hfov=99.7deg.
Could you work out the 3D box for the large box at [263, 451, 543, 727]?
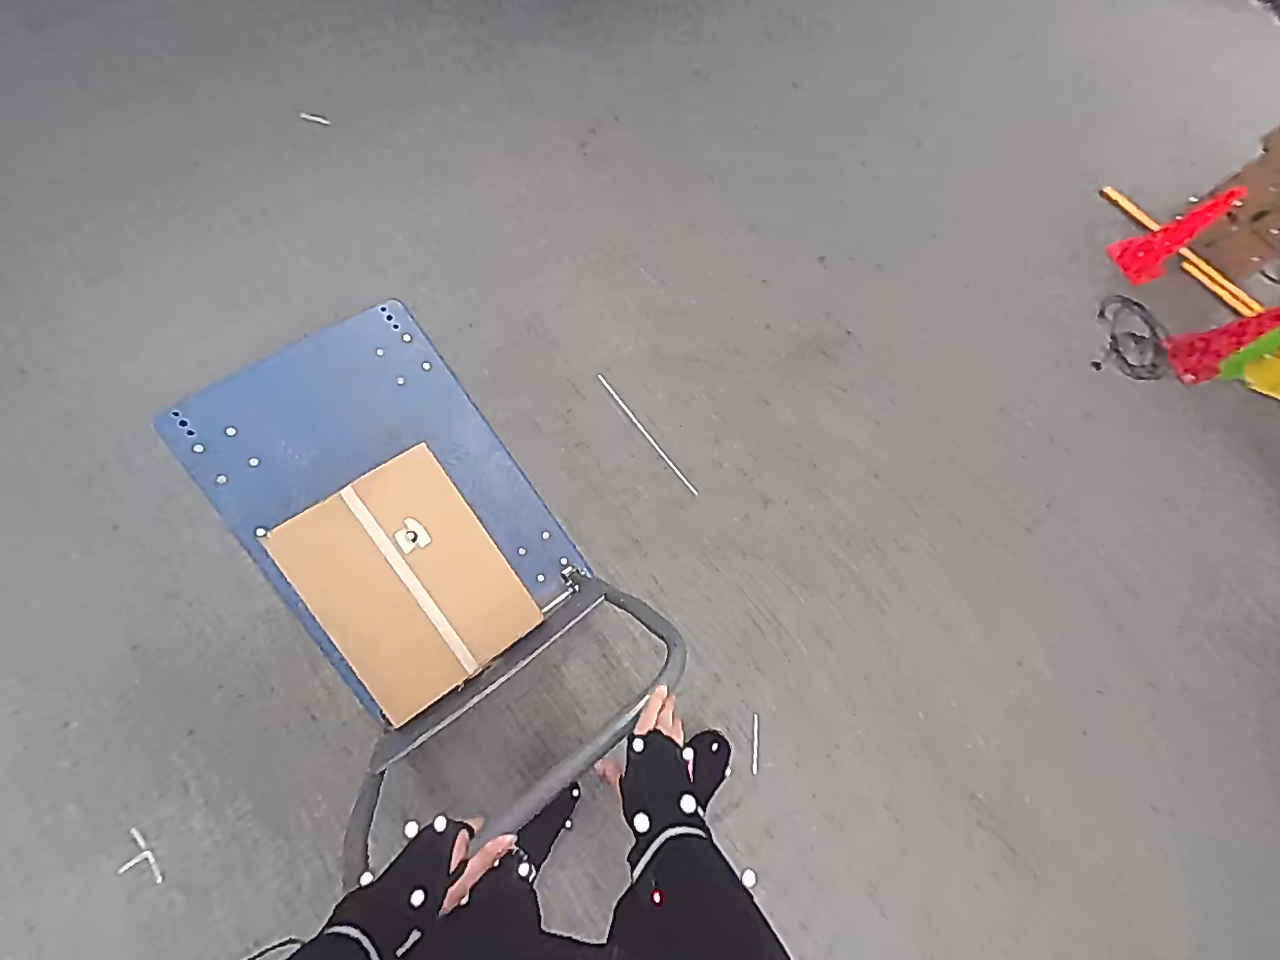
[{"bbox_3d":[-0.449,0.208,1.113,0.320,0.320,0.408,-35,93,-18],"label":"large box"}]
